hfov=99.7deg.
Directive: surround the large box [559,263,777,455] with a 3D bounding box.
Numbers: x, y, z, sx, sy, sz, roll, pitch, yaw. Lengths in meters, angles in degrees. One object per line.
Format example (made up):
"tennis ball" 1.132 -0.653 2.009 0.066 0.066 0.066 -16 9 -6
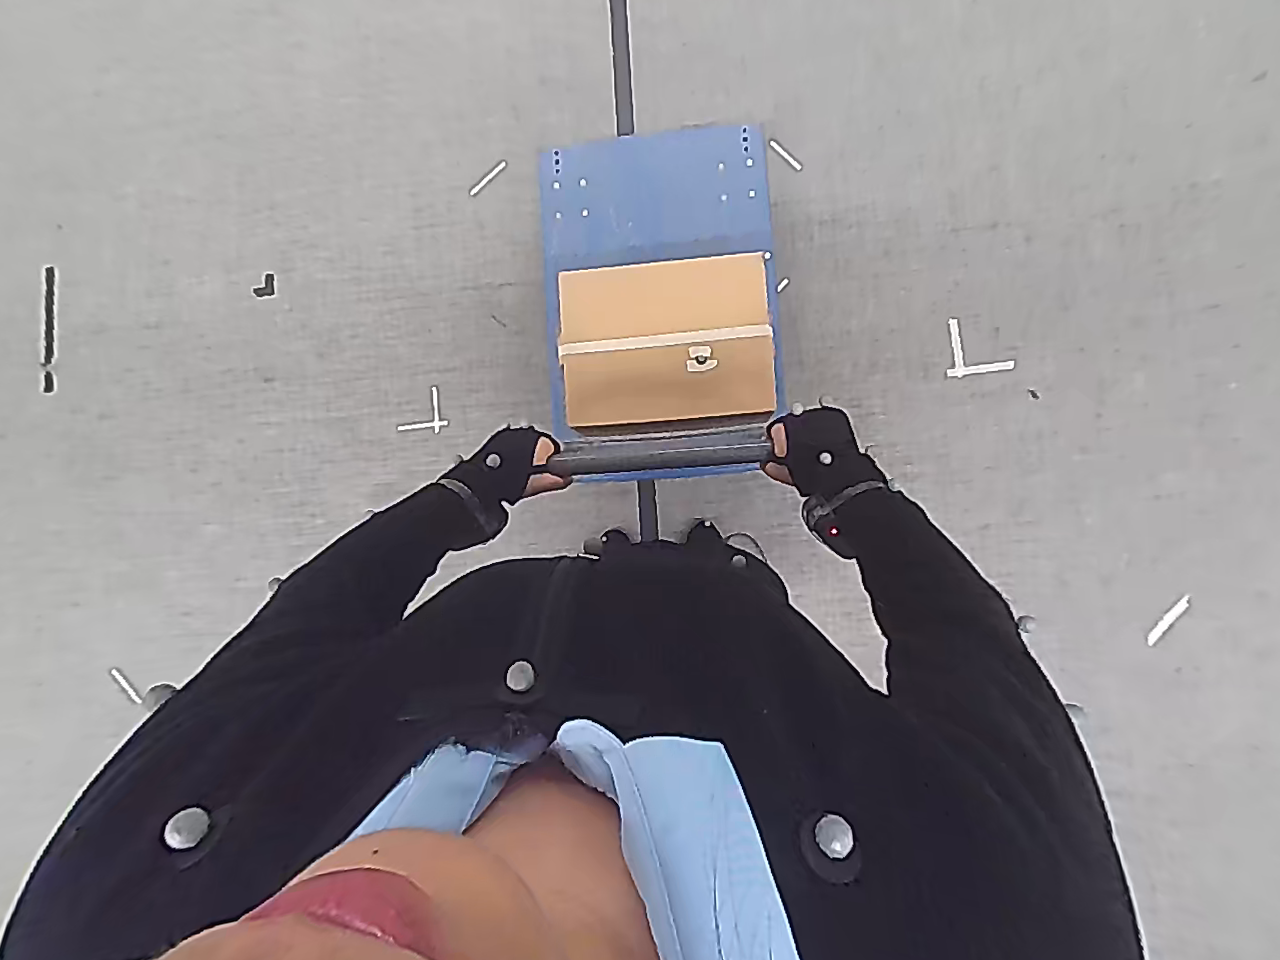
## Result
"large box" 0.058 -0.238 1.183 0.408 0.320 0.320 -4 87 4
